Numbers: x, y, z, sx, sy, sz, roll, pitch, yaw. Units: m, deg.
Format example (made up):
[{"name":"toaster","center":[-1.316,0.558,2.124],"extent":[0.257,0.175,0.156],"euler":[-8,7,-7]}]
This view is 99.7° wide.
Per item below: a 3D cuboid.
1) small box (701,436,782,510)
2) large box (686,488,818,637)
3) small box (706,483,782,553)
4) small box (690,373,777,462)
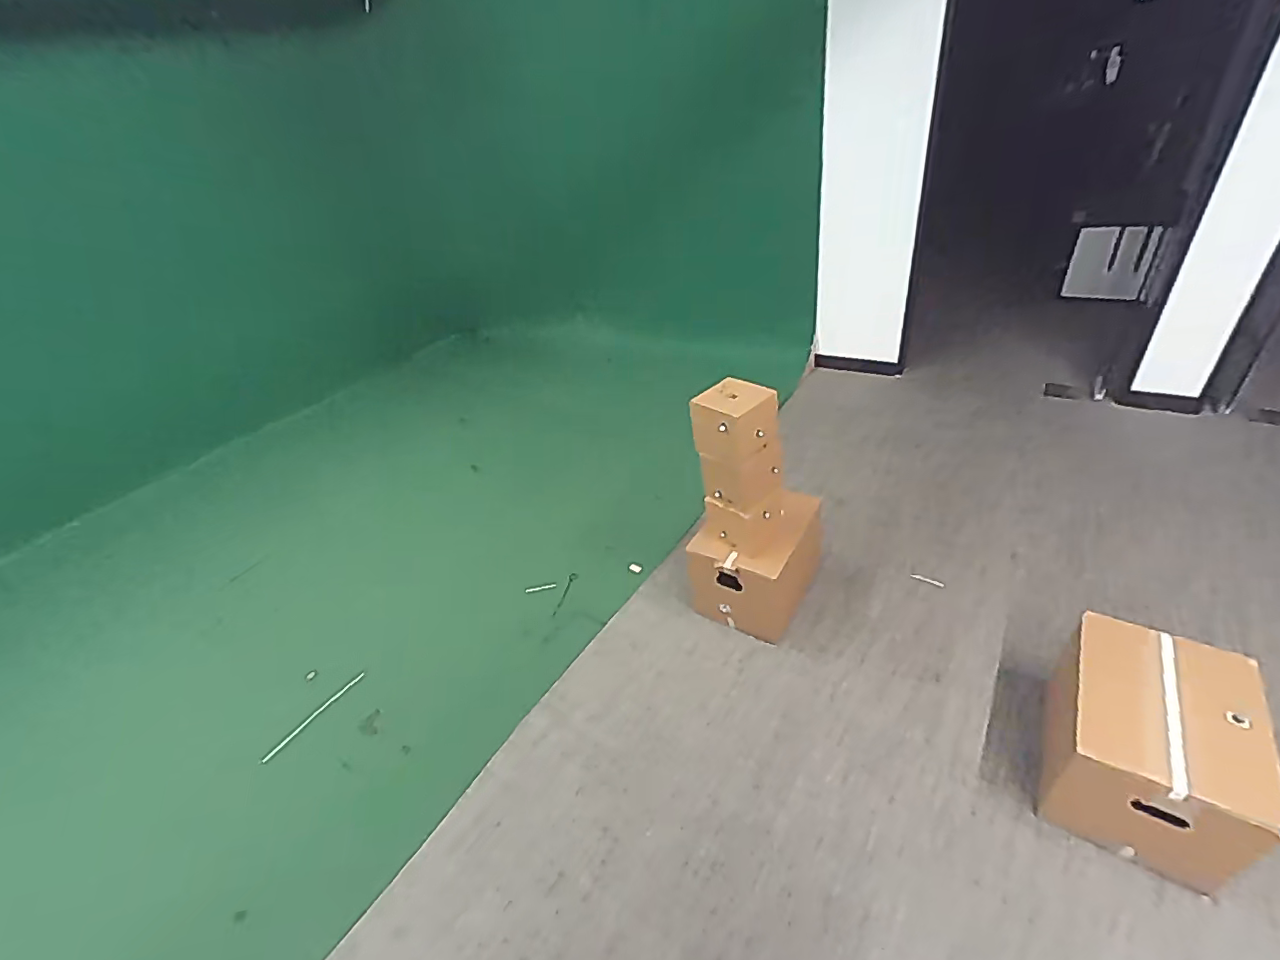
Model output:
[{"name":"small box","center":[0.302,-0.042,1.605],"extent":[0.179,0.176,0.168],"euler":[-35,41,-27]},{"name":"large box","center":[0.397,0.257,1.865],"extent":[0.320,0.320,0.408],"euler":[16,43,31]},{"name":"small box","center":[0.326,0.093,1.693],"extent":[0.168,0.176,0.179],"euler":[25,50,39]},{"name":"small box","center":[0.265,-0.172,1.511],"extent":[0.168,0.176,0.179],"euler":[-33,41,-27]}]
